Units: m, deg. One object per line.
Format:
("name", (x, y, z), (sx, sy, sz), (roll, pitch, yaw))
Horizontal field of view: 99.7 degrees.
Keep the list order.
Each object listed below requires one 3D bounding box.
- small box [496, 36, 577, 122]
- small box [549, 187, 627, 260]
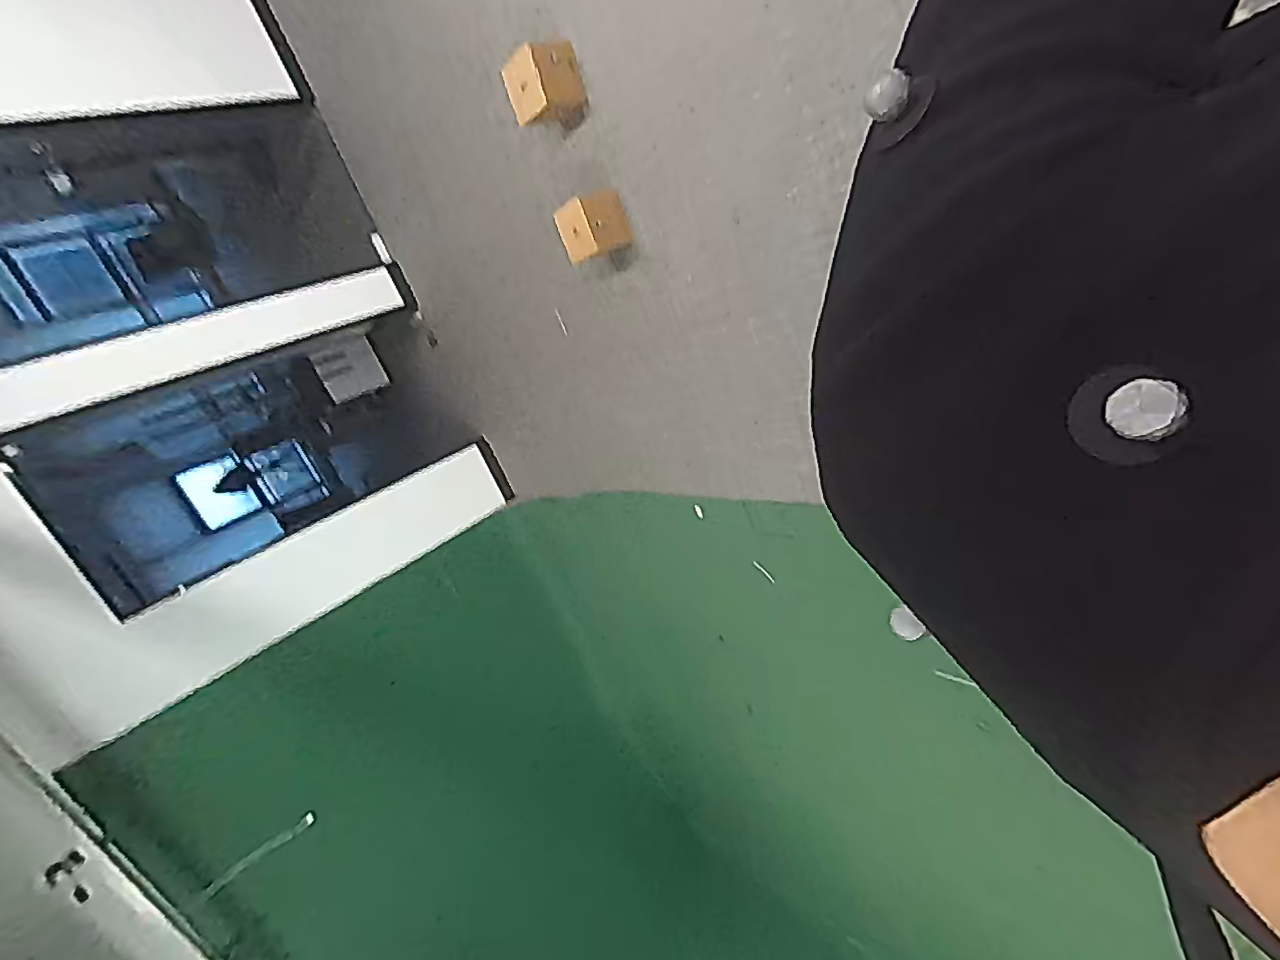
("small box", (-0.316, -1.259, 1.698), (0.179, 0.176, 0.168), (7, 122, 50))
("small box", (-0.175, -0.878, 1.843), (0.168, 0.176, 0.179), (1, 119, 51))
